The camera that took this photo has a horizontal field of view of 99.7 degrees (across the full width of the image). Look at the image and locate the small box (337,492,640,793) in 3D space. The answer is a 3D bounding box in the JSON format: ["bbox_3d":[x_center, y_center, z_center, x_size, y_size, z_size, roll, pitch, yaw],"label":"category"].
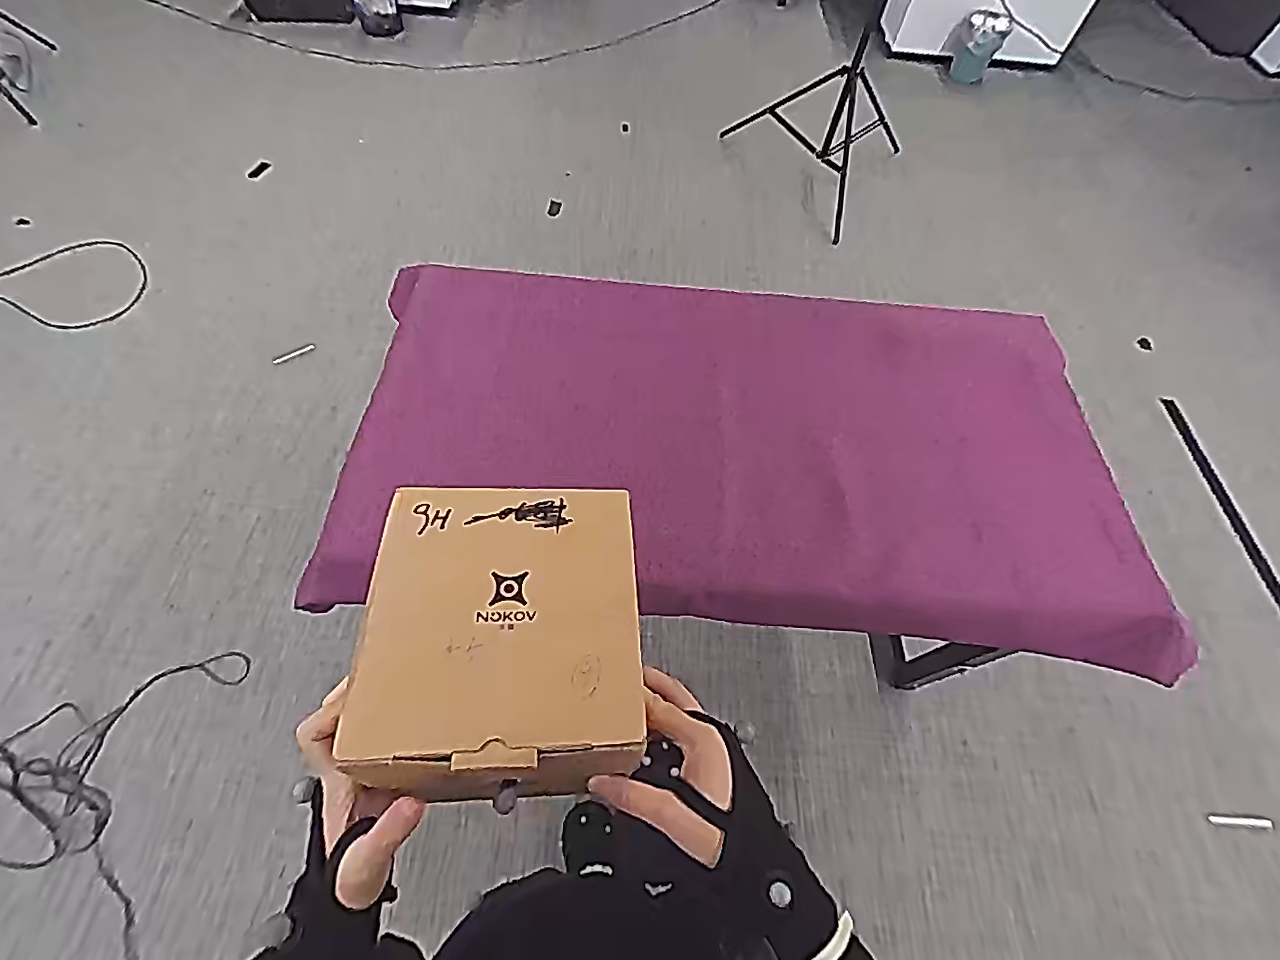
[{"bbox_3d":[-0.093,0.126,0.404,0.168,0.176,0.179,1,54,-8],"label":"small box"}]
